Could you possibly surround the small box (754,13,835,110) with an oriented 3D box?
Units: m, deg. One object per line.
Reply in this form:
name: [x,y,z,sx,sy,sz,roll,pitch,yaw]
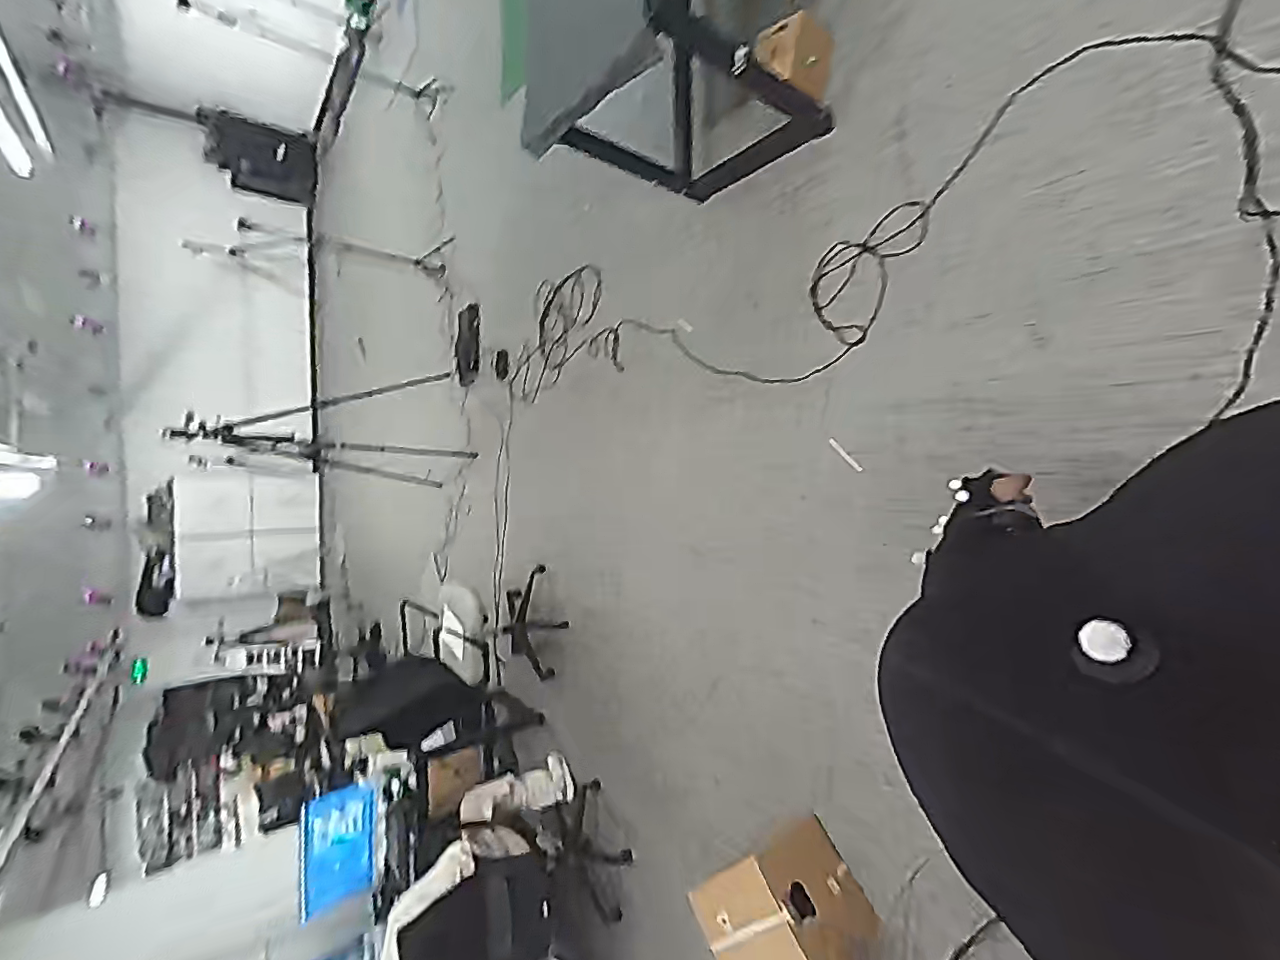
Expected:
small box: [0.482,-1.285,1.681,0.168,0.176,0.179,20,107,49]
